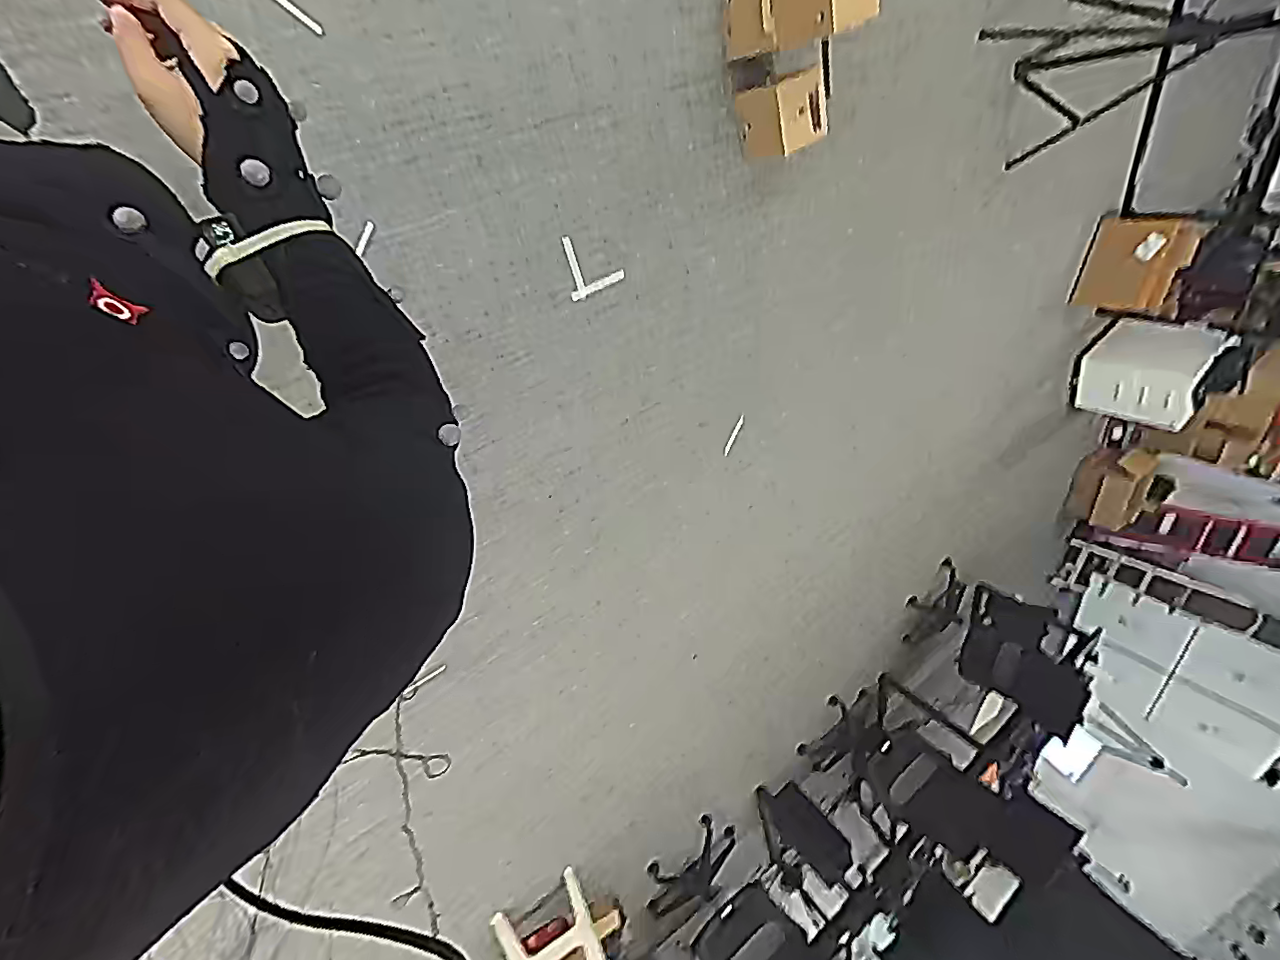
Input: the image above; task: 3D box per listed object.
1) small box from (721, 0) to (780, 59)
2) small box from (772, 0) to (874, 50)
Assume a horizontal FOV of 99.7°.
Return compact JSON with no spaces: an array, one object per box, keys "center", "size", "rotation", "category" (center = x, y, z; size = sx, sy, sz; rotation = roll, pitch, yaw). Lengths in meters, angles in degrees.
[{"center":[0.321,-1.198,1.375],"size":[0.179,0.176,0.168],"rotation":[-29,127,-23],"category":"small box"},{"center":[0.418,-1.144,1.256],"size":[0.168,0.176,0.179],"rotation":[-35,129,-19],"category":"small box"}]
